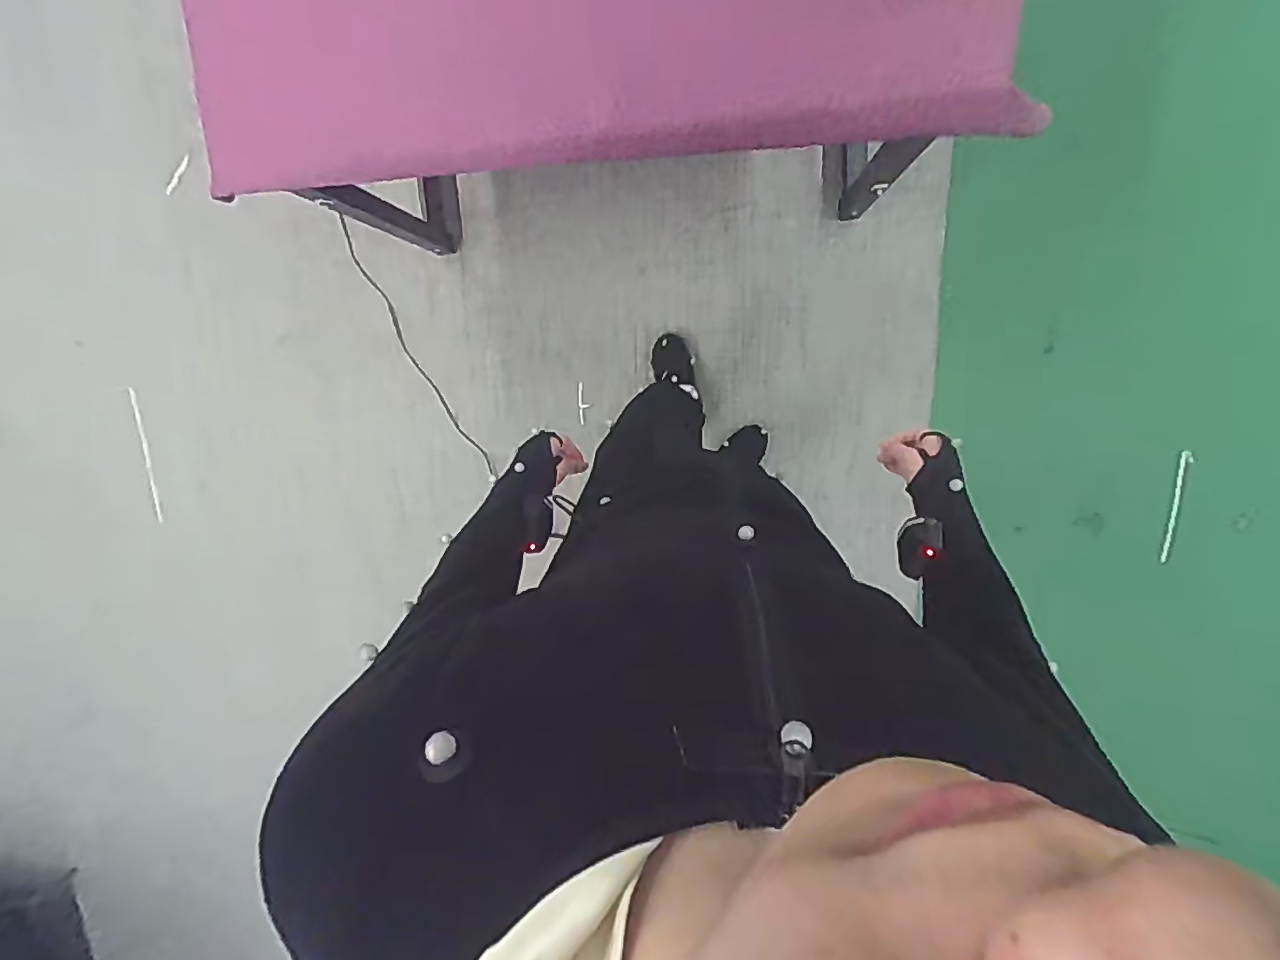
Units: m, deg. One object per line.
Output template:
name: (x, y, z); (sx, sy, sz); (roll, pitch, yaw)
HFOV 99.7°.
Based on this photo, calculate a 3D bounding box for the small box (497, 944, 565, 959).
small box: (-0.265, 1.231, 1.245); (0.168, 0.176, 0.179); (0, 102, 6)

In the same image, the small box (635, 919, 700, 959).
small box: (0.068, 1.291, 1.391); (0.168, 0.176, 0.179); (2, 102, 6)

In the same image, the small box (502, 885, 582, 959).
small box: (-0.248, 1.199, 1.404); (0.168, 0.176, 0.179); (0, 103, 6)
